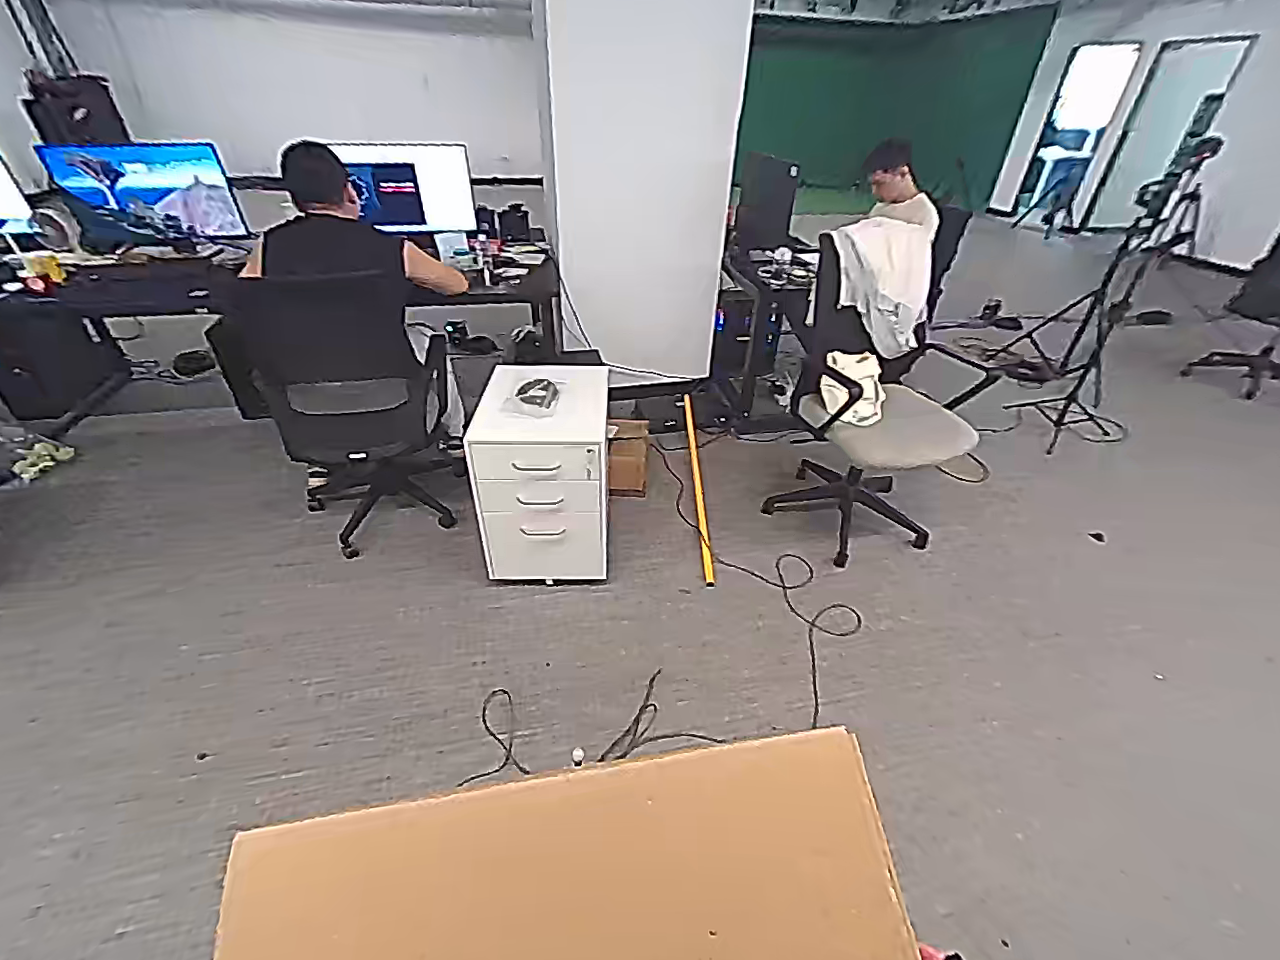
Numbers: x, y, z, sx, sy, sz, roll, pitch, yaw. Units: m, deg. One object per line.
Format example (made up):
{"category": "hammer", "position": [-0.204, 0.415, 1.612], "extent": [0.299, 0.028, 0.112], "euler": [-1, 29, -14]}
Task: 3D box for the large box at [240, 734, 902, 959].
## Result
{"category": "large box", "position": [-0.028, 0.407, 0.434], "extent": [0.408, 0.320, 0.320], "euler": [-9, 64, -3]}
